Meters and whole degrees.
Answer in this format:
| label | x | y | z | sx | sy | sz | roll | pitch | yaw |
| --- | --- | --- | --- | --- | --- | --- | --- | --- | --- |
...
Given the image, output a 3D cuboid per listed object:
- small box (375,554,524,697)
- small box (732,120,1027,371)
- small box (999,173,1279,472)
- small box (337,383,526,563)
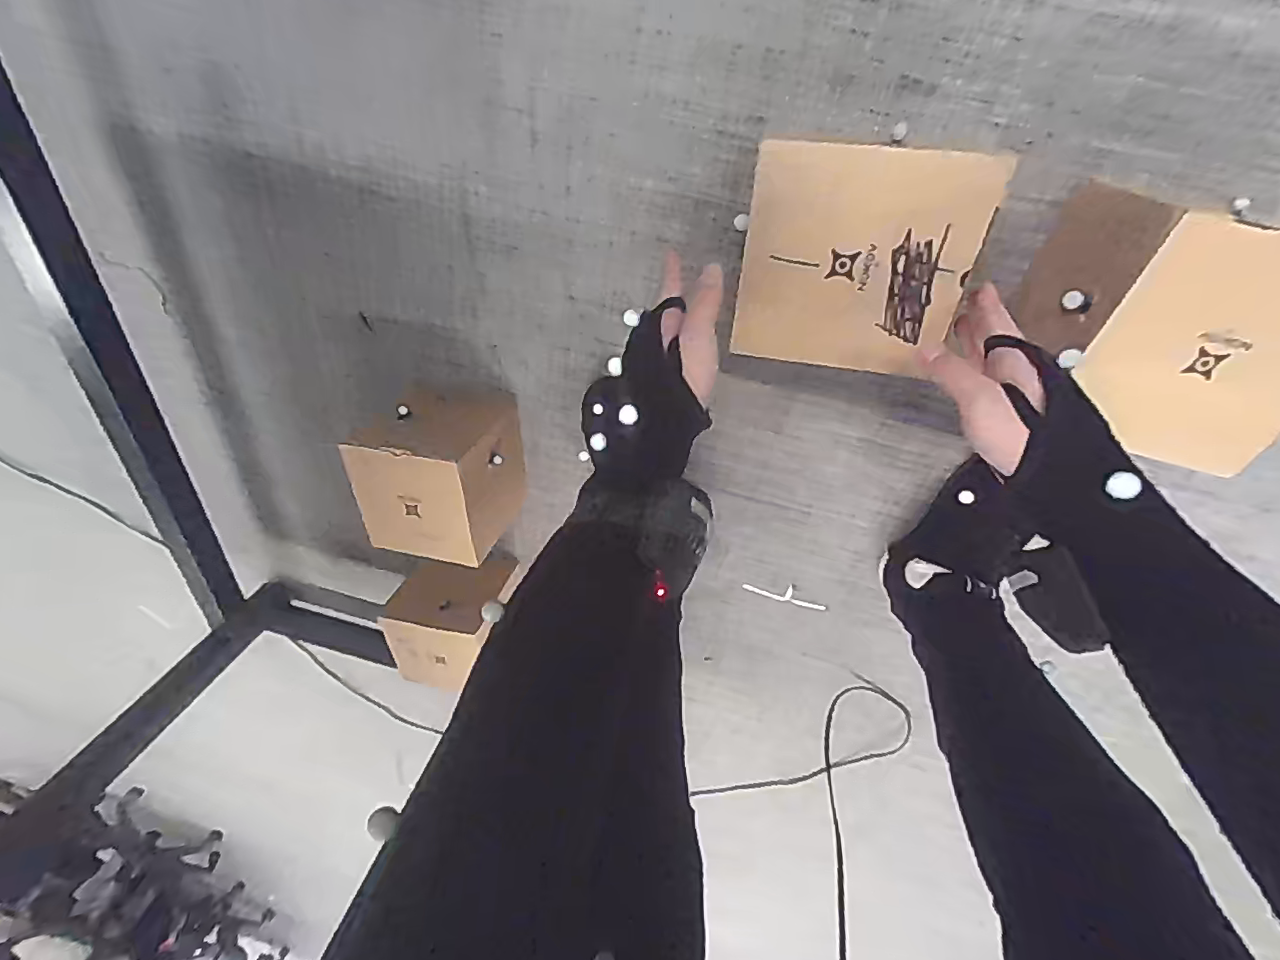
| label | x | y | z | sx | sy | sz | roll | pitch | yaw |
| --- | --- | --- | --- | --- | --- | --- | --- | --- | --- |
| small box | -0.310 | 0.239 | 0.931 | 0.179 | 0.176 | 0.168 | 8 | 125 | 11 |
| small box | 0.188 | -0.215 | 0.481 | 0.179 | 0.176 | 0.168 | 11 | 126 | 9 |
| small box | 0.445 | -0.141 | 0.460 | 0.168 | 0.176 | 0.179 | 17 | 126 | 4 |
| small box | -0.270 | -0.017 | 0.746 | 0.168 | 0.176 | 0.179 | 10 | 126 | 10 |
